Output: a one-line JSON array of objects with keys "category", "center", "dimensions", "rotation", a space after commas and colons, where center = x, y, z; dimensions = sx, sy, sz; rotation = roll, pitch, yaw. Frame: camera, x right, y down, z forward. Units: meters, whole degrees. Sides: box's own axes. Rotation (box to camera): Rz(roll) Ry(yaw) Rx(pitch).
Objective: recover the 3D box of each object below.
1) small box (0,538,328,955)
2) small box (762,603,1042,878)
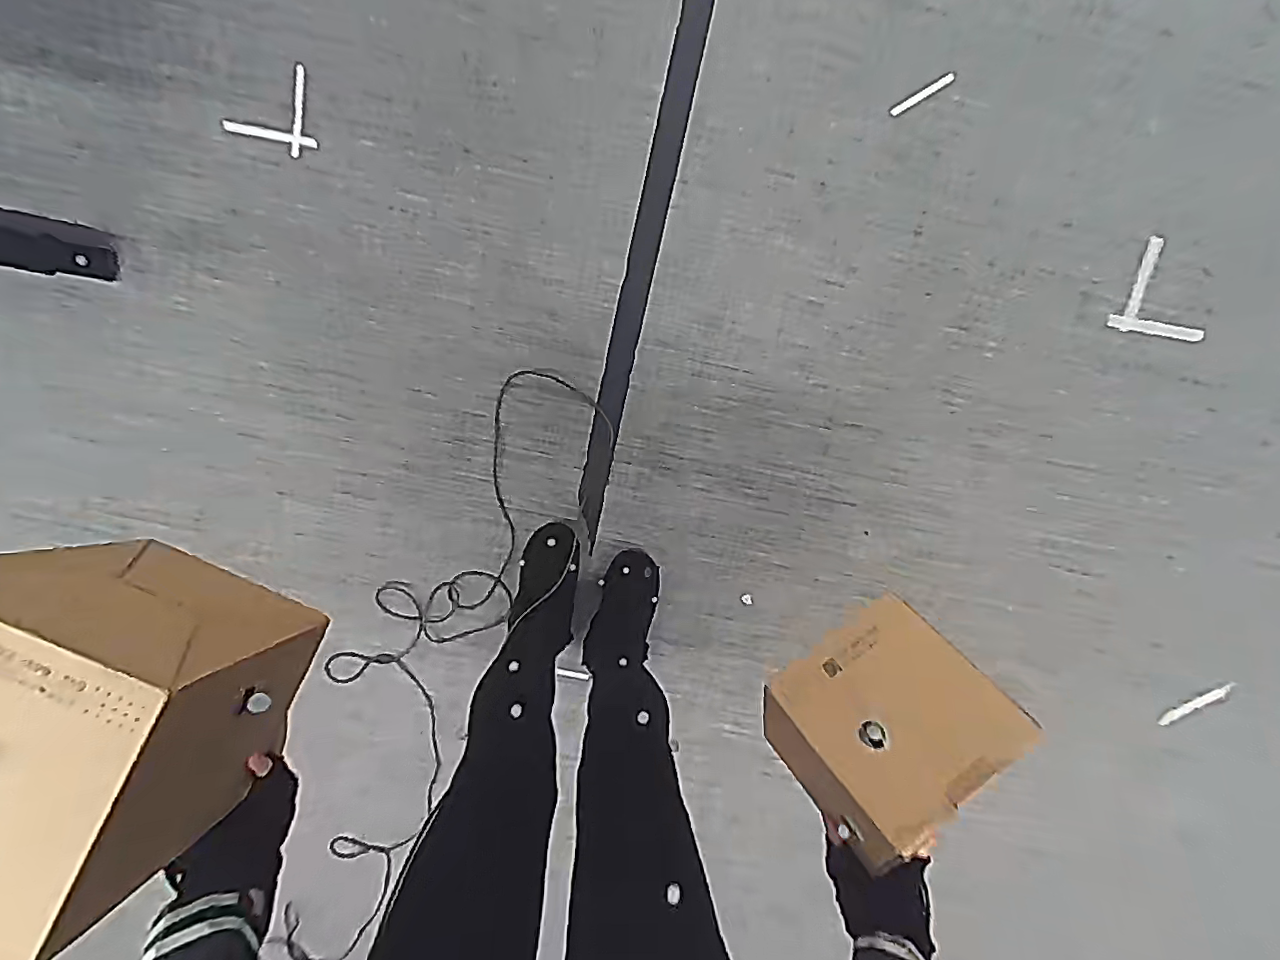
[{"category": "small box", "center": [-0.362, 0.147, 0.370], "dimensions": [0.168, 0.179, 0.176], "rotation": [25, 85, -1]}, {"category": "small box", "center": [0.239, 0.251, 0.541], "dimensions": [0.168, 0.176, 0.179], "rotation": [-29, 140, -14]}]
